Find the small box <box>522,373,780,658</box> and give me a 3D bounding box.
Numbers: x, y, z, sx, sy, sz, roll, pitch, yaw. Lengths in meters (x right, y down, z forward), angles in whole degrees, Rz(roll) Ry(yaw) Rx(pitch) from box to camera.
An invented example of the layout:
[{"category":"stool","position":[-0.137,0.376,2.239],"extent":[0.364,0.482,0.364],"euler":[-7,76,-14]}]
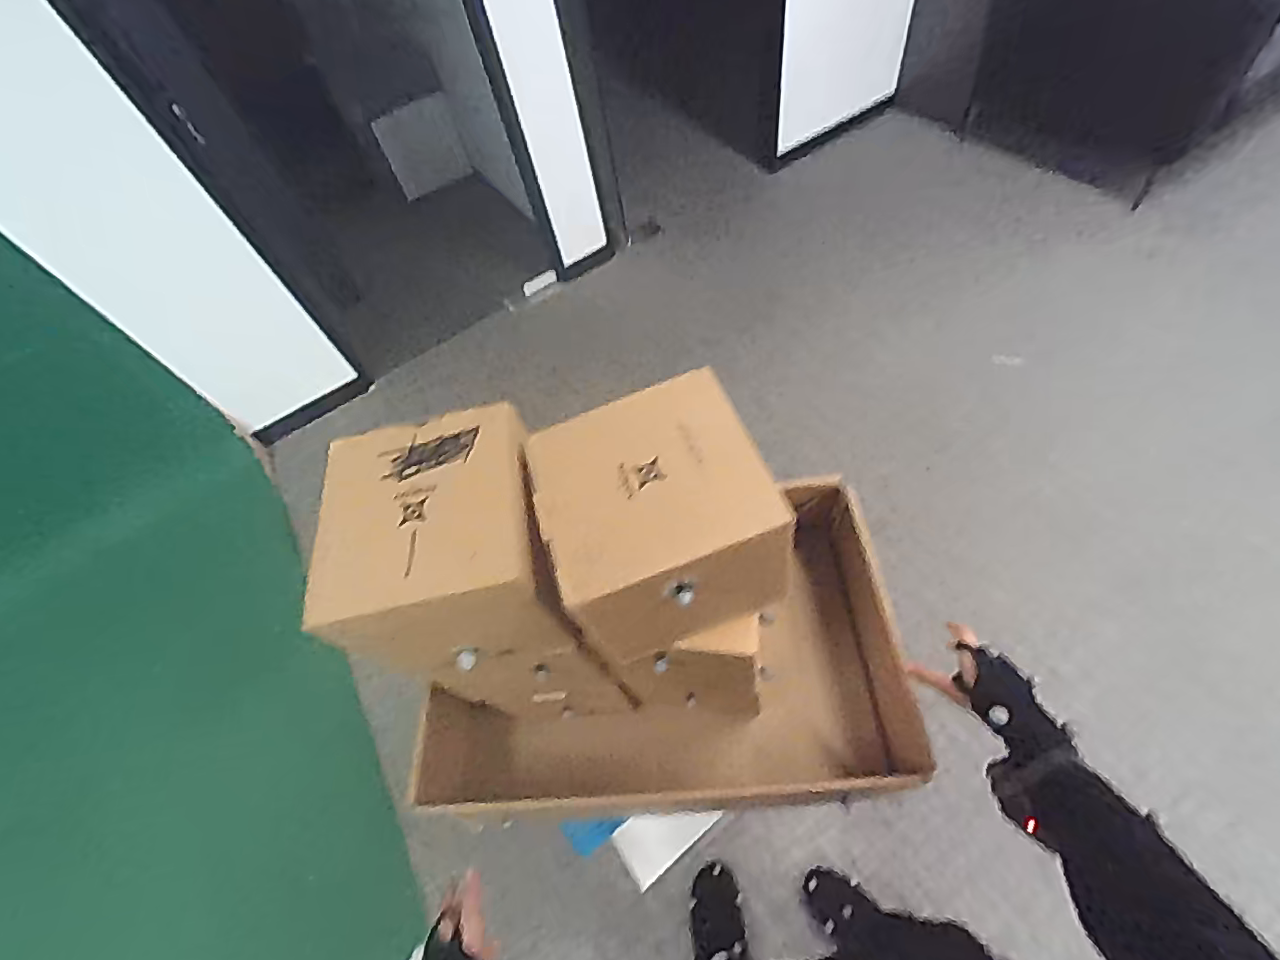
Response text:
[{"category":"small box","position":[0.016,0.041,0.491],"extent":[0.179,0.176,0.168],"euler":[-21,55,0]}]
